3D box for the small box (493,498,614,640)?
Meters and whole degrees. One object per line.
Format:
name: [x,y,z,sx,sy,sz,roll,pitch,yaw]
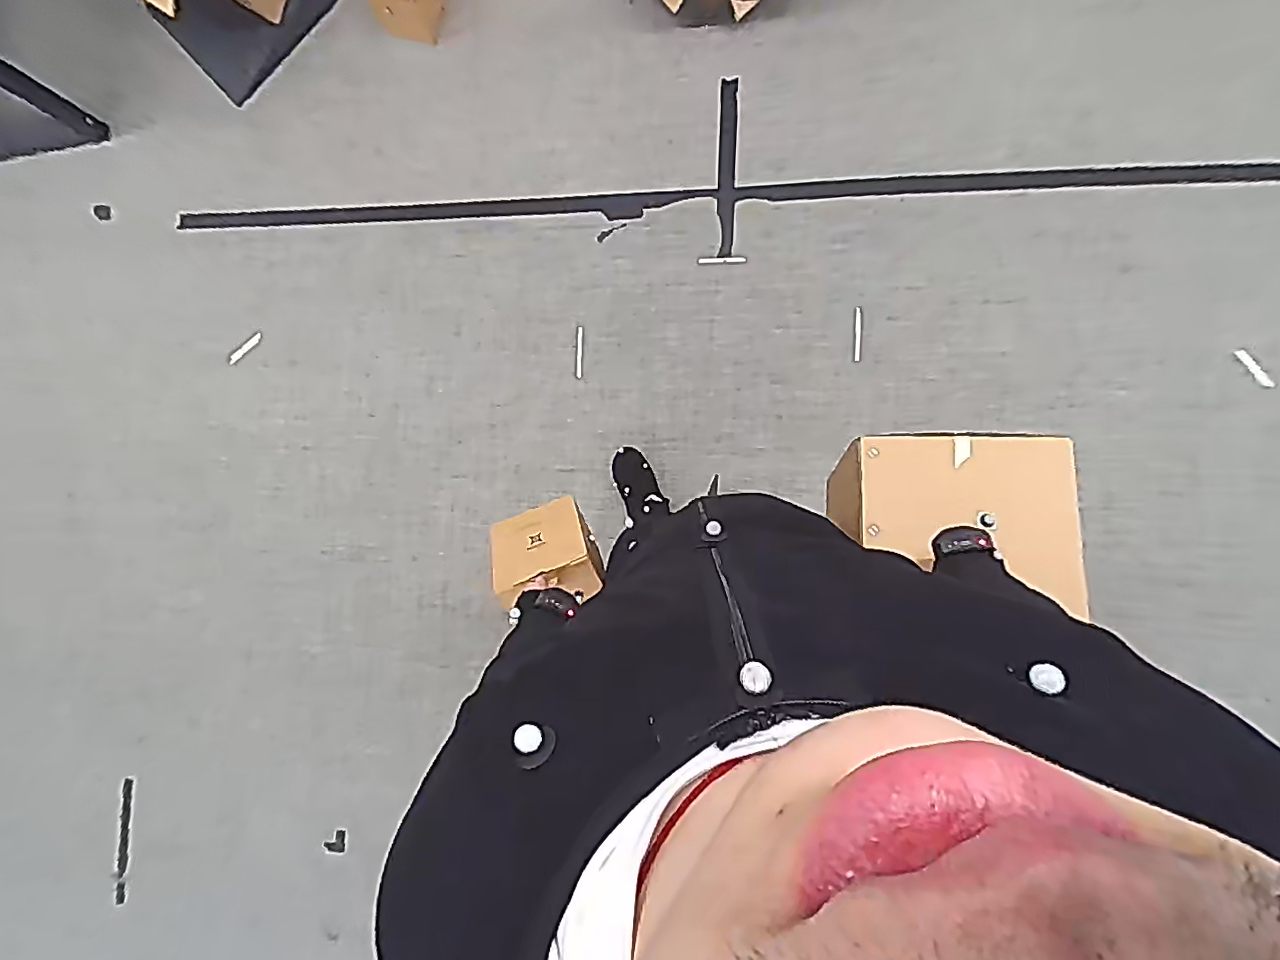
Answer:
small box: [-0.159,0.170,1.002,0.168,0.179,0.176,-21,126,-3]
